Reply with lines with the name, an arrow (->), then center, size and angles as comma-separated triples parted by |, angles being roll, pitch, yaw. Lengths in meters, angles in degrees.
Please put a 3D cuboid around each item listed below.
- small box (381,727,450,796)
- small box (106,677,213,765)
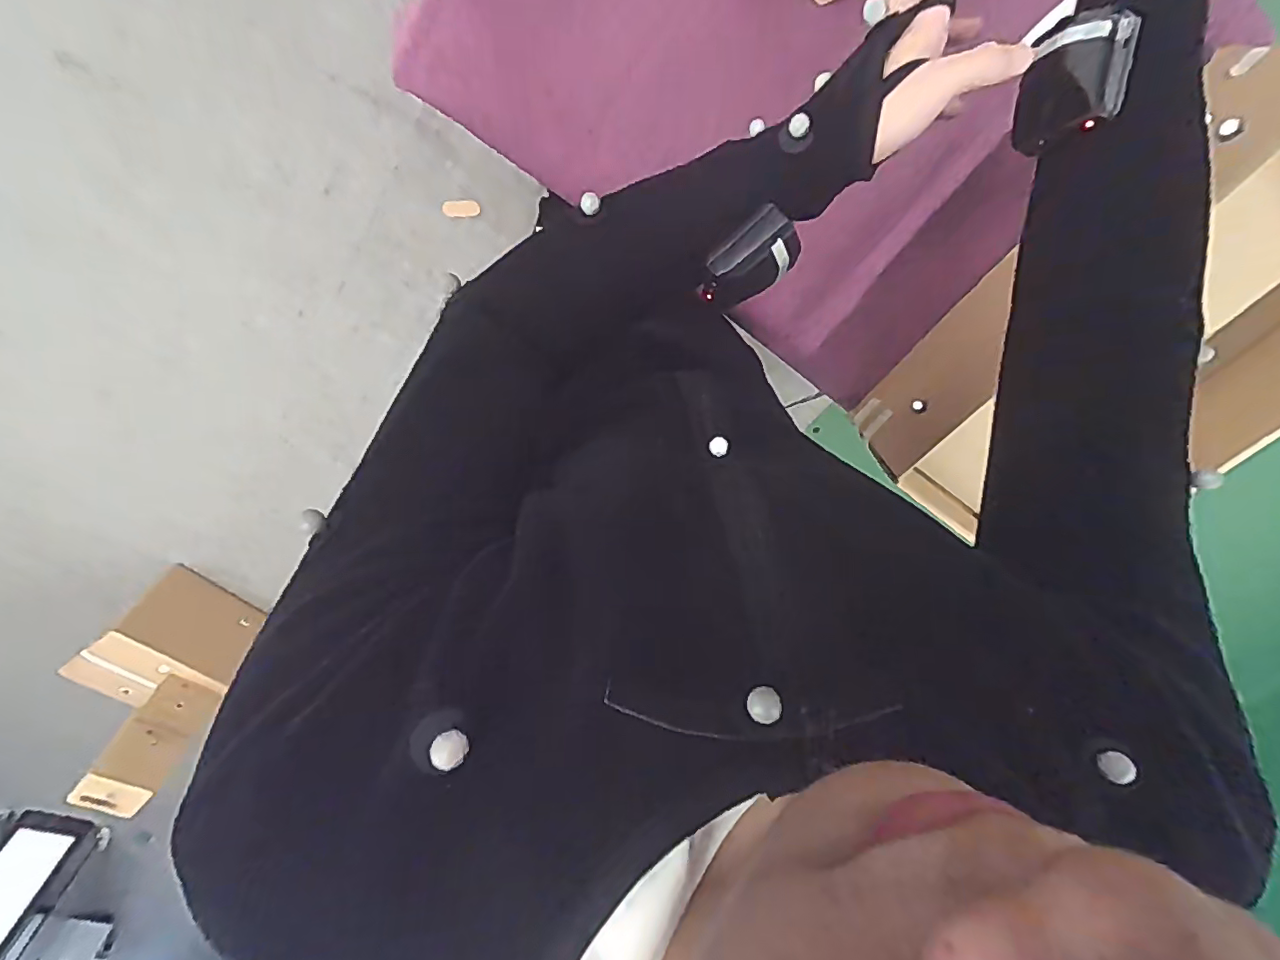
small box -> -0.795, 1.005, 1.932 | 0.179, 0.176, 0.168 | 0, 123, -6
small box -> -1.499, 0.754, 1.702 | 0.179, 0.176, 0.168 | -40, 118, 18
